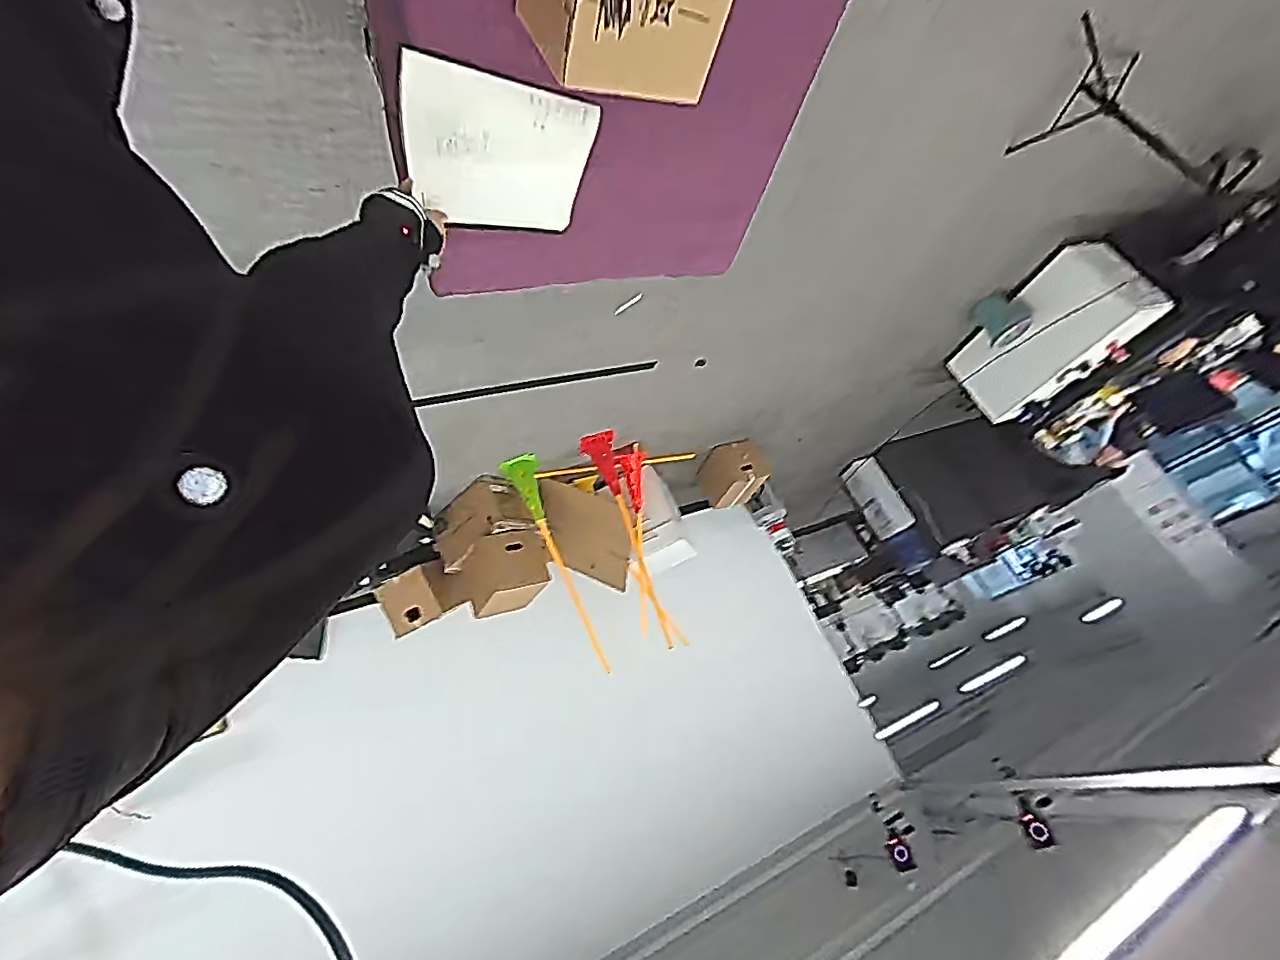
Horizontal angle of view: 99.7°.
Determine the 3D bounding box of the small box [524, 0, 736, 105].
[{"bbox_3d":[-0.012,-0.538,0.571,0.179,0.176,0.168,-13,154,-26],"label":"small box"}]
